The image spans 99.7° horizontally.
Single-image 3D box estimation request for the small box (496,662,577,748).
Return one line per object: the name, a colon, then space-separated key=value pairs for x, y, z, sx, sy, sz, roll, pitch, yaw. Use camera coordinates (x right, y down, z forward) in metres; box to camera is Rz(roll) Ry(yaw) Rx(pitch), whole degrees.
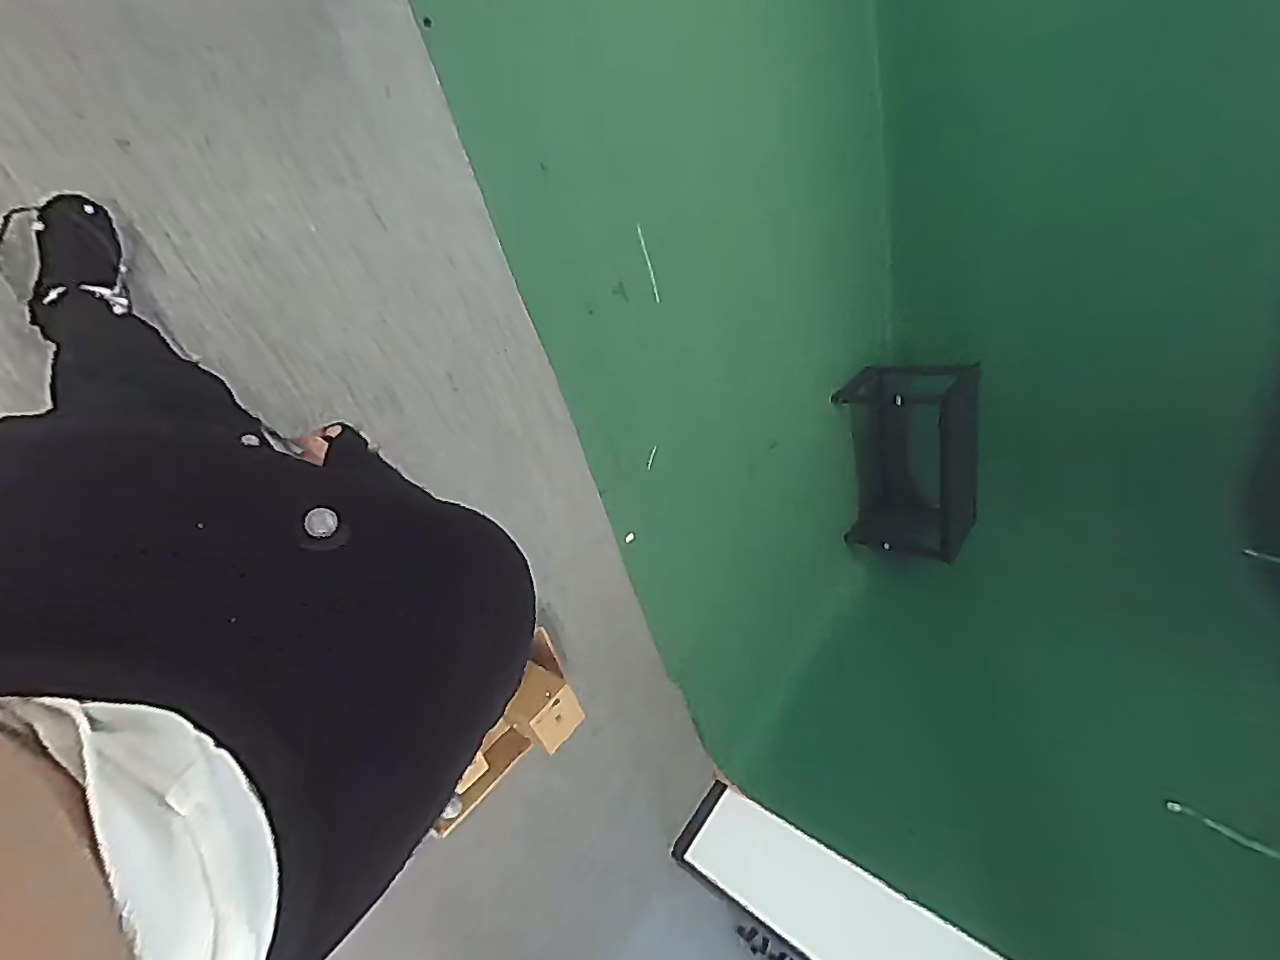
small box: x=-0.346 y=0.742 z=1.805 sx=0.168 sy=0.176 sz=0.179 roll=-41 pitch=127 yaw=-34
